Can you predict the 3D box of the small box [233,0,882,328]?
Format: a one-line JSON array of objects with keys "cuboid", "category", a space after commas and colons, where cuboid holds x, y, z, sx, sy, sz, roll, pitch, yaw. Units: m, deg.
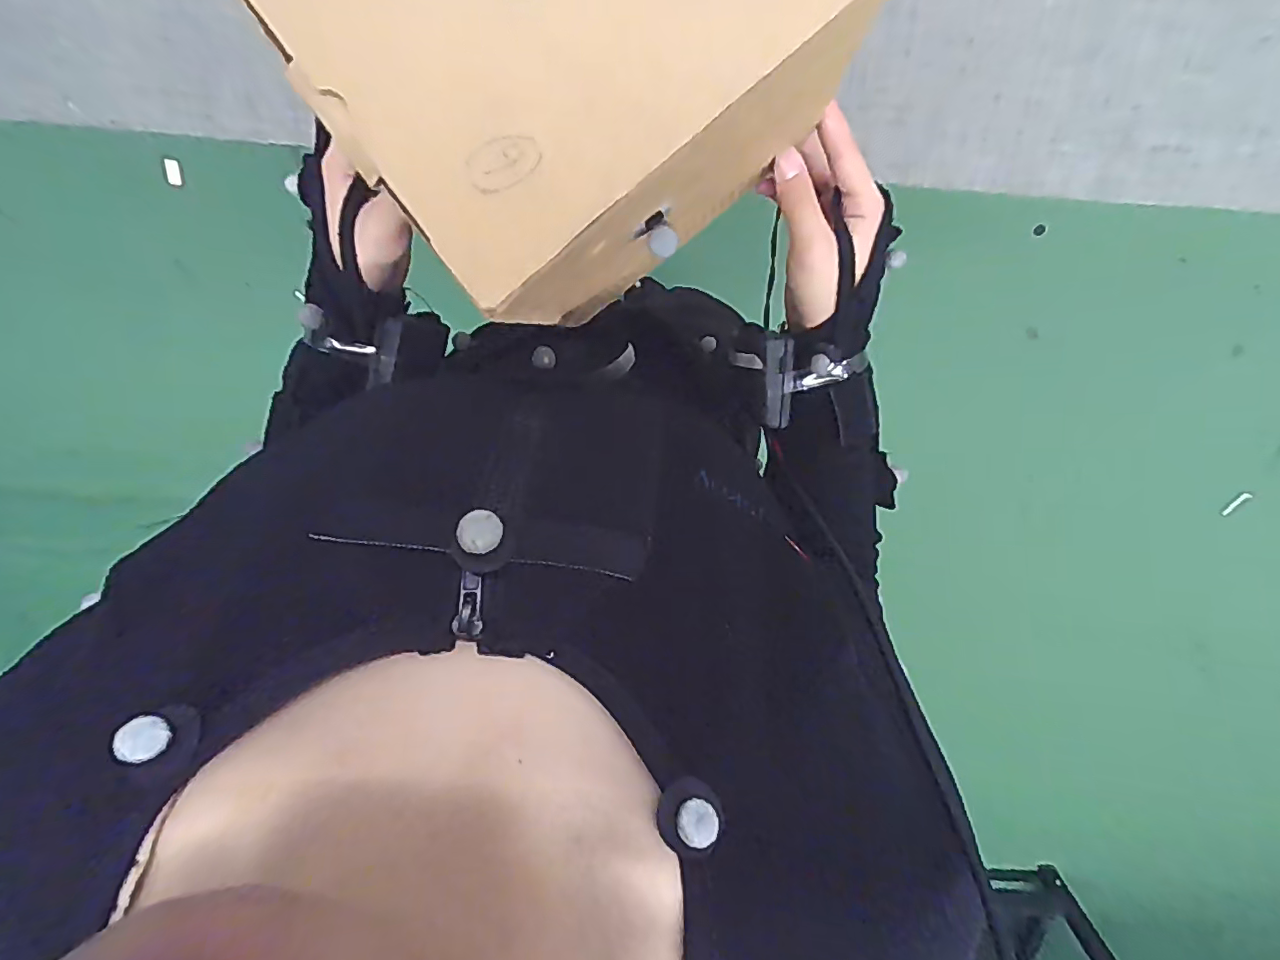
[{"cuboid": [-0.027, -0.185, 0.248, 0.179, 0.176, 0.168, -35, 98, 13], "category": "small box"}]
